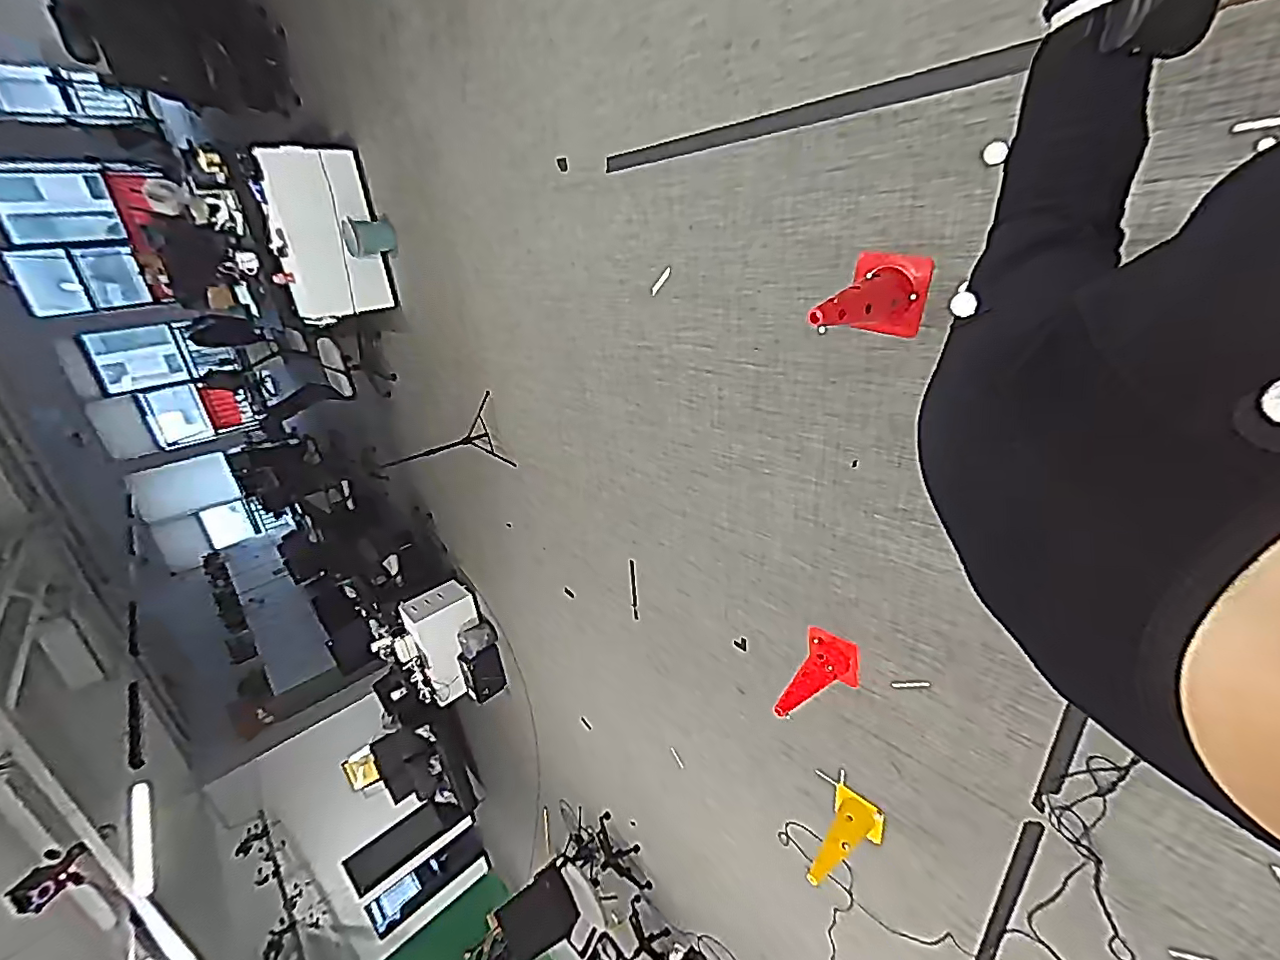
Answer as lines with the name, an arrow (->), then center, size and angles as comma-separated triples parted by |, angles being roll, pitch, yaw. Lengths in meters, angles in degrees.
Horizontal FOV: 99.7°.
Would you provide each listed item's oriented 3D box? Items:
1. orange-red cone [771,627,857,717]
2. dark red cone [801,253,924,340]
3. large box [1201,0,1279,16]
orange-red cone -> 0.590, 0.722, 1.925 | 0.198, 0.360, 0.199 | 19, 125, 46
dark red cone -> 0.511, -0.426, 1.319 | 0.201, 0.394, 0.202 | 26, 129, 39
large box -> 0.546, -0.466, 0.223 | 0.408, 0.320, 0.320 | 19, 128, 44
